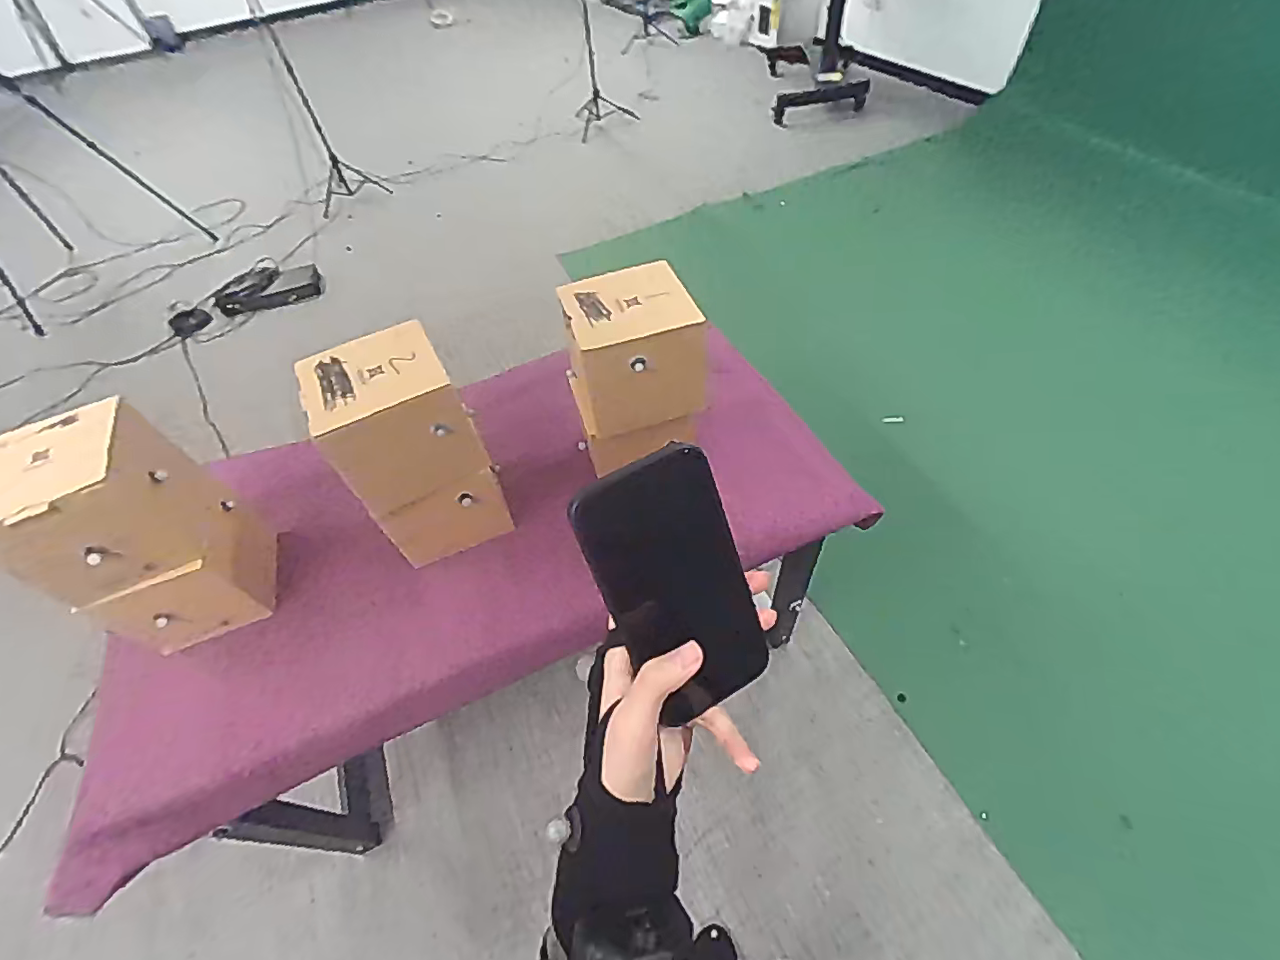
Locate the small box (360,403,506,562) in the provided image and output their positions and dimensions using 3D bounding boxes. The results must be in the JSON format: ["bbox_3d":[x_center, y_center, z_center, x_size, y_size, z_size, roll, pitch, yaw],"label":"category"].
[{"bbox_3d":[-0.335,0.007,0.900,0.179,0.176,0.168,-21,53,-10],"label":"small box"}]

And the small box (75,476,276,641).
[{"bbox_3d":[-0.702,0.131,0.844,0.168,0.176,0.179,-20,53,-10],"label":"small box"}]

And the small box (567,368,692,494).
[{"bbox_3d":[-0.017,-0.102,0.953,0.179,0.176,0.168,-16,52,-6],"label":"small box"}]

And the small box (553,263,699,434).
[{"bbox_3d":[-0.017,-0.194,0.817,0.179,0.176,0.168,-16,52,-7],"label":"small box"}]

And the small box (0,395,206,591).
[{"bbox_3d":[-0.719,0.025,0.720,0.168,0.176,0.179,-24,55,-13],"label":"small box"}]
